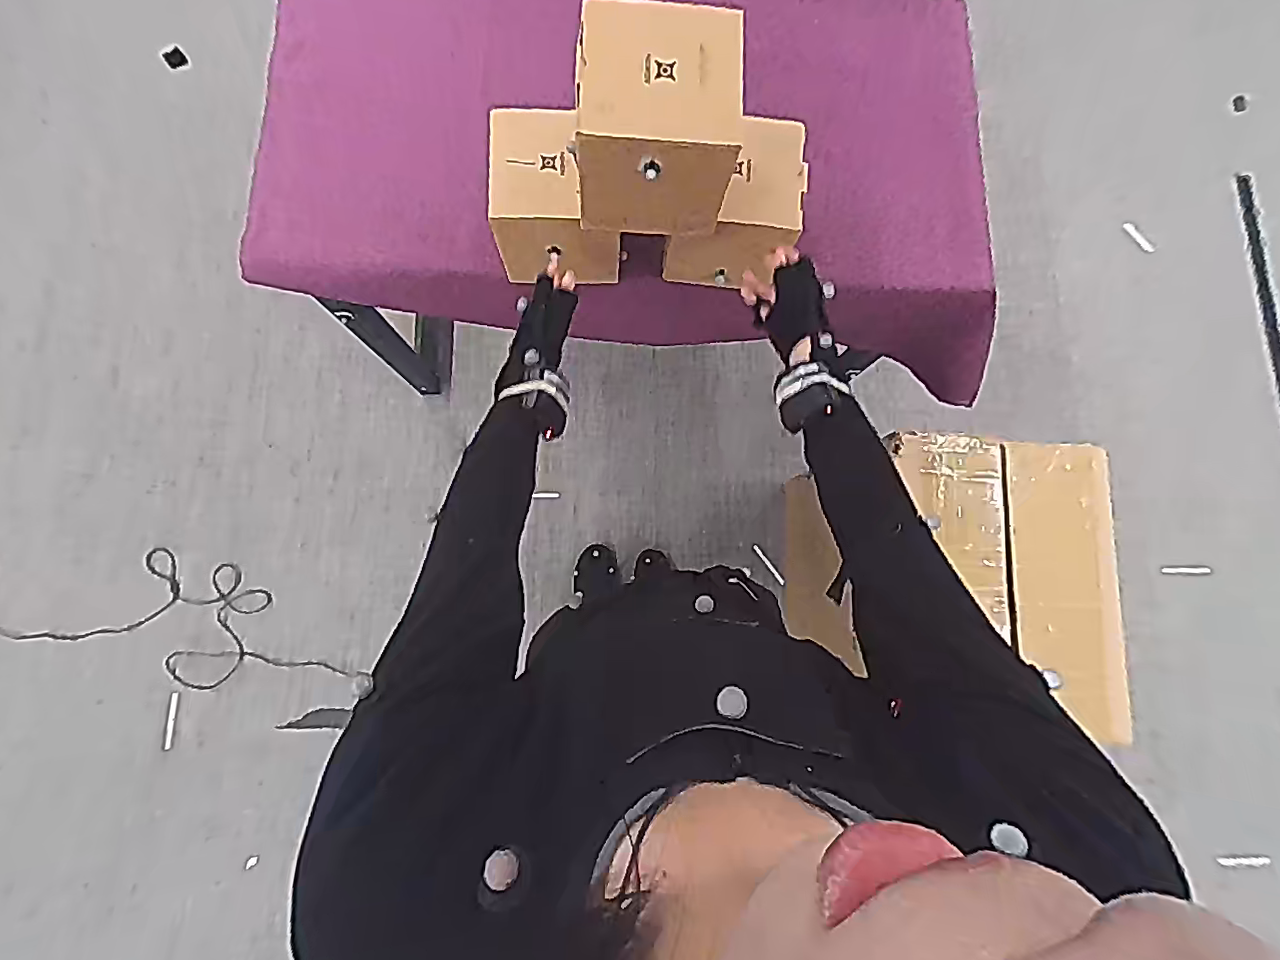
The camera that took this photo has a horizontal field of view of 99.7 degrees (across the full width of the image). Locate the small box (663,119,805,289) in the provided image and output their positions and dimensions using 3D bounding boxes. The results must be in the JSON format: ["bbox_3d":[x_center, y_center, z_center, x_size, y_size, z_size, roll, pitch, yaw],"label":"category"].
[{"bbox_3d":[0.135,-0.408,0.818,0.179,0.176,0.168,5,80,-2],"label":"small box"}]

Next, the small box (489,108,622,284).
[{"bbox_3d":[-0.115,-0.408,0.801,0.179,0.176,0.168,-1,80,-2],"label":"small box"}]

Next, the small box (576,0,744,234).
[{"bbox_3d":[0.018,-0.419,0.646,0.179,0.176,0.168,2,82,-4],"label":"small box"}]
